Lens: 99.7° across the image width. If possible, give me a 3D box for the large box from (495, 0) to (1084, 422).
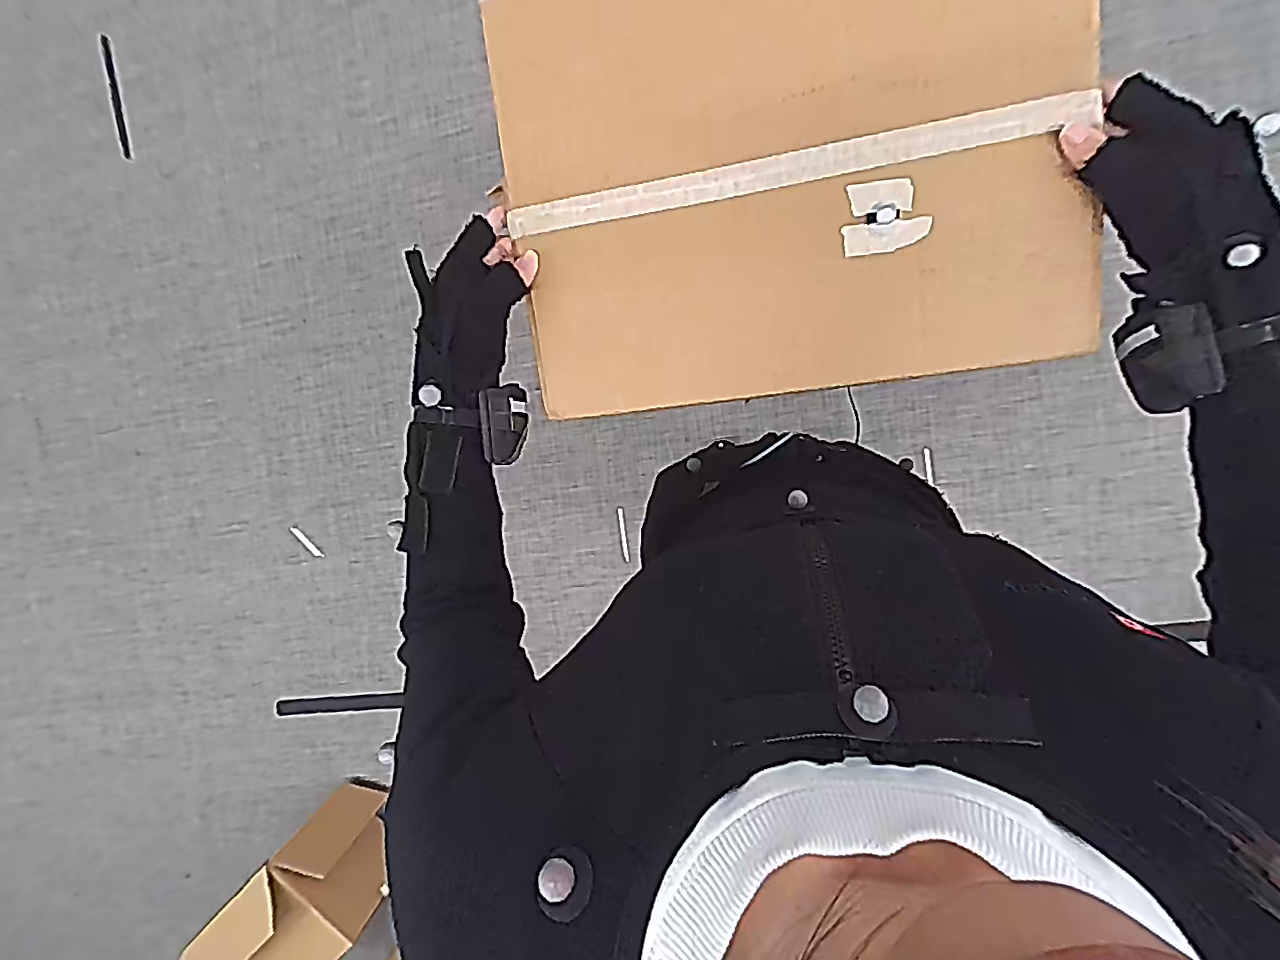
[{"bbox_3d":[0.124,-0.247,0.545,0.408,0.320,0.320,-7,99,10],"label":"large box"}]
